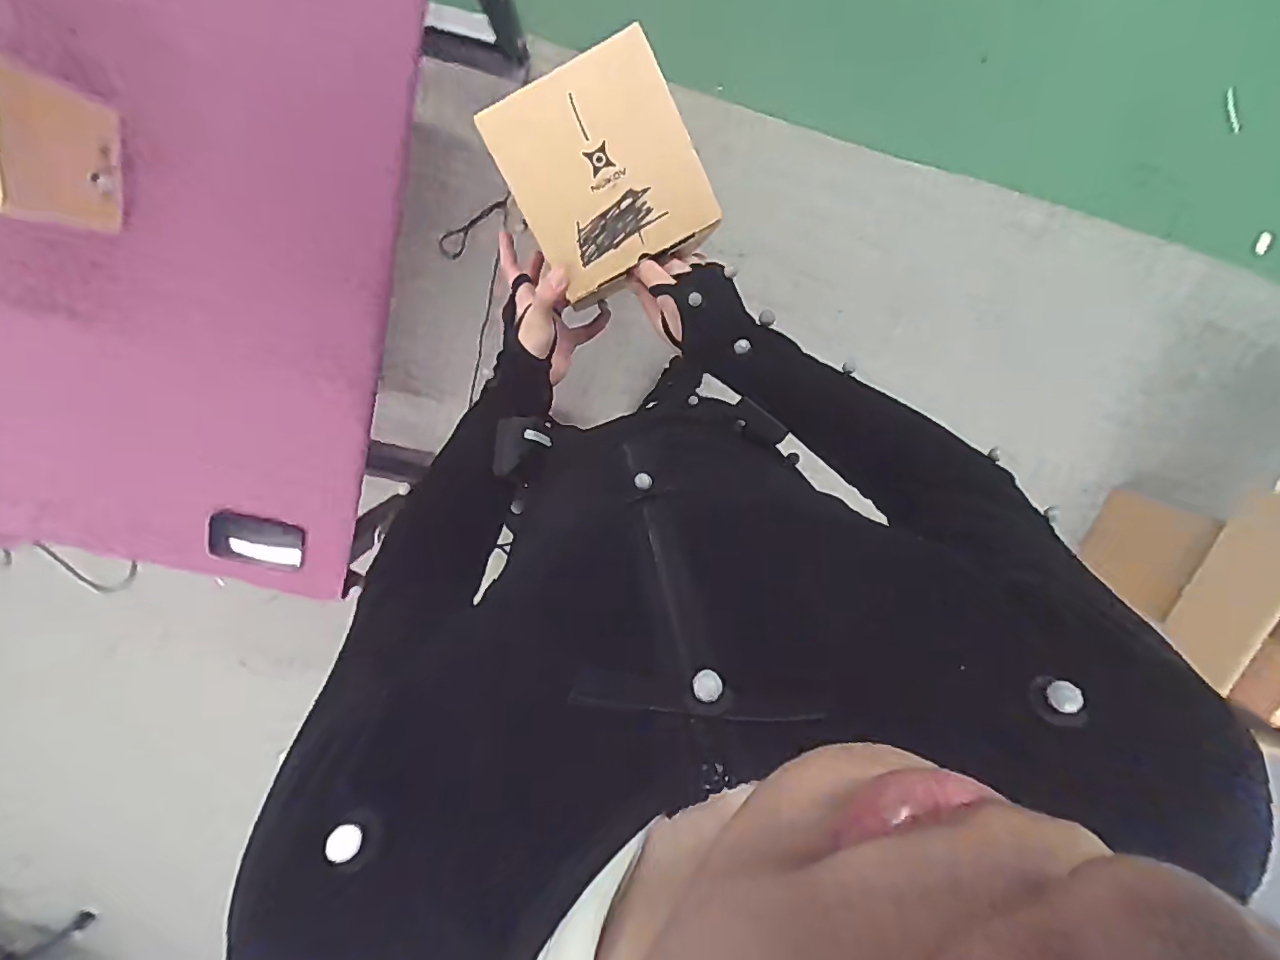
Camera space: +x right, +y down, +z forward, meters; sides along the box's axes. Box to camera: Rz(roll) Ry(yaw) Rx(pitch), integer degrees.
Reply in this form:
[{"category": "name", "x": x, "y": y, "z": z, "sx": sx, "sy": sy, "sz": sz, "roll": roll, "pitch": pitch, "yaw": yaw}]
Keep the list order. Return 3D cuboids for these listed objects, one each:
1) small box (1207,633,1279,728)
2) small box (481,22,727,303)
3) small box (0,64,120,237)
[{"category": "small box", "x": 1.525, "y": 0.487, "z": 1.268, "sx": 0.179, "sy": 0.176, "sz": 0.168, "roll": 21, "pitch": 102, "yaw": -5}, {"category": "small box", "x": -0.032, "y": -0.295, "z": 0.555, "sx": 0.168, "sy": 0.176, "sz": 0.179, "roll": -27, "pitch": 104, "yaw": 2}, {"category": "small box", "x": -0.819, "y": -0.419, "z": 0.678, "sx": 0.179, "sy": 0.176, "sz": 0.168, "roll": 10, "pitch": 103, "yaw": -5}]
